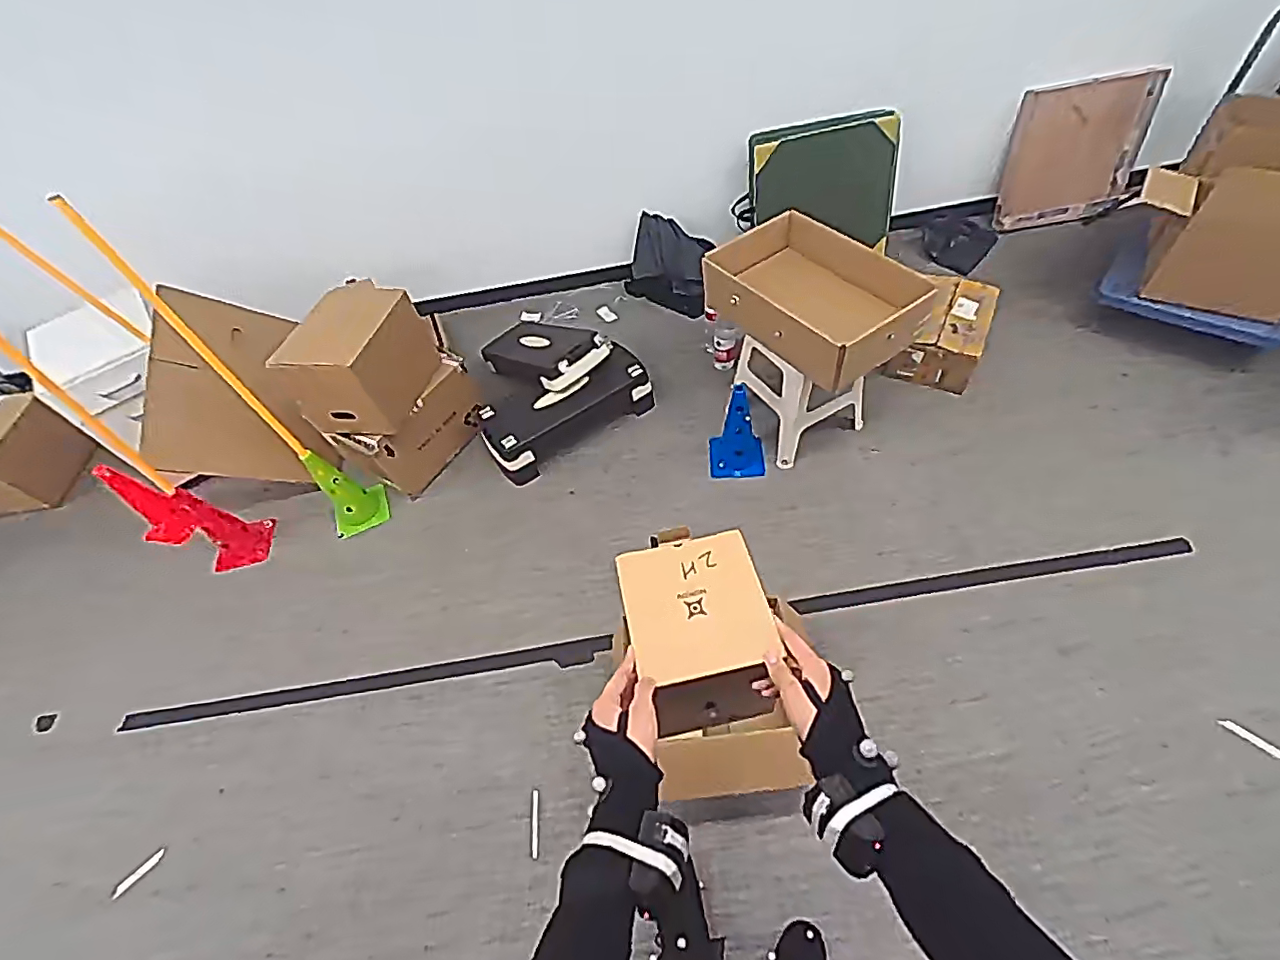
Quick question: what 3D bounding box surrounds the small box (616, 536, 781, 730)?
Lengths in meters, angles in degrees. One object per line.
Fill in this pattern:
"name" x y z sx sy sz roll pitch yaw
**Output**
"small box" 0.070 0.204 0.702 0.168 0.176 0.179 -11 46 -4
